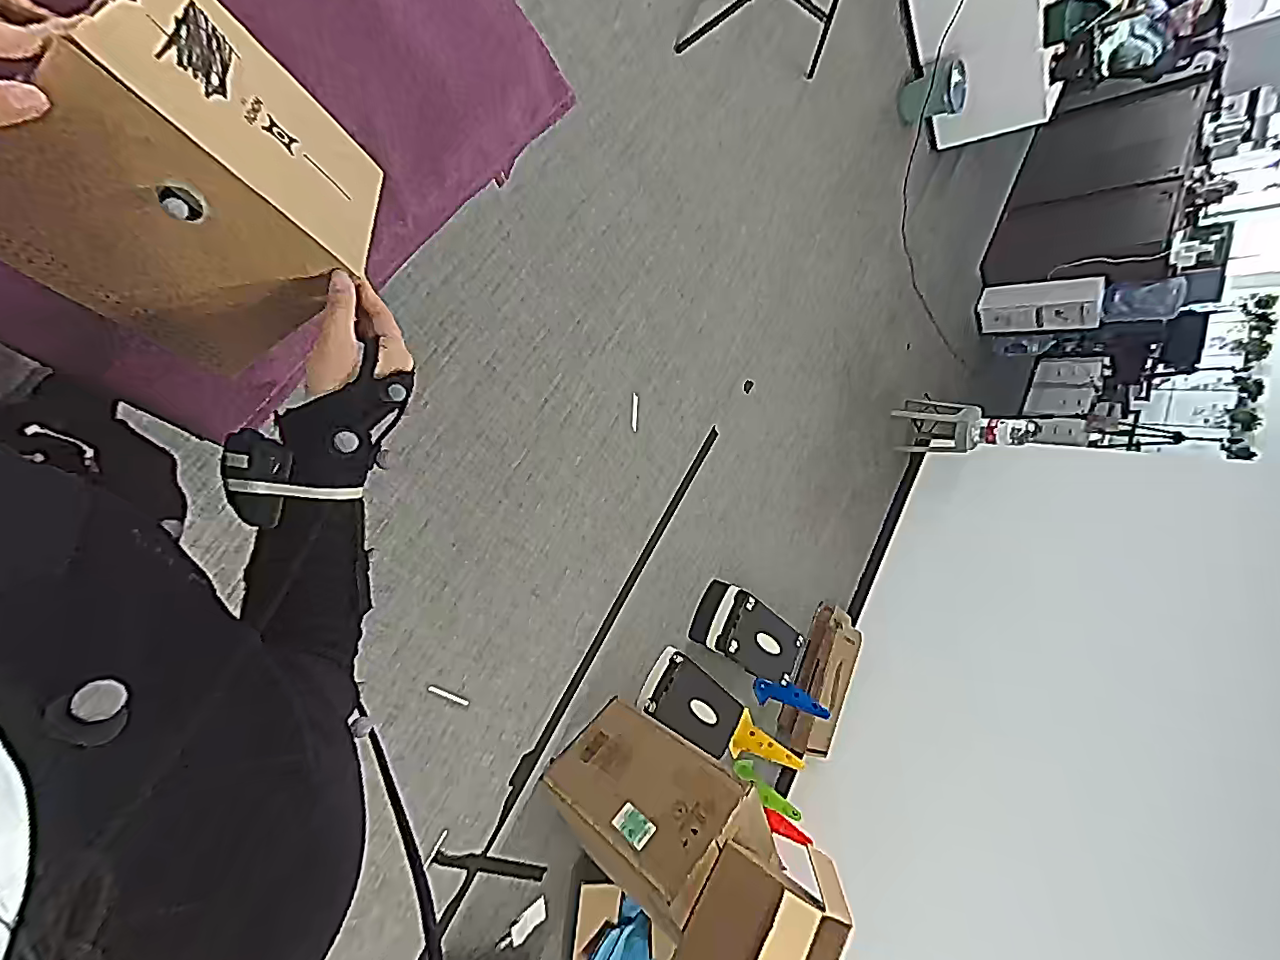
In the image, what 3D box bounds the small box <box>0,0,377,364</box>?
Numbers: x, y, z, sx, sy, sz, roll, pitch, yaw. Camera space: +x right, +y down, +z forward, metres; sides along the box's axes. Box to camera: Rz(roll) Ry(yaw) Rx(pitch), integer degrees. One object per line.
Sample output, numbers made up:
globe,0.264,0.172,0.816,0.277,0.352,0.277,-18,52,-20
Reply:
small box,-0.334,-0.220,0.408,0.179,0.176,0.168,43,27,-52
